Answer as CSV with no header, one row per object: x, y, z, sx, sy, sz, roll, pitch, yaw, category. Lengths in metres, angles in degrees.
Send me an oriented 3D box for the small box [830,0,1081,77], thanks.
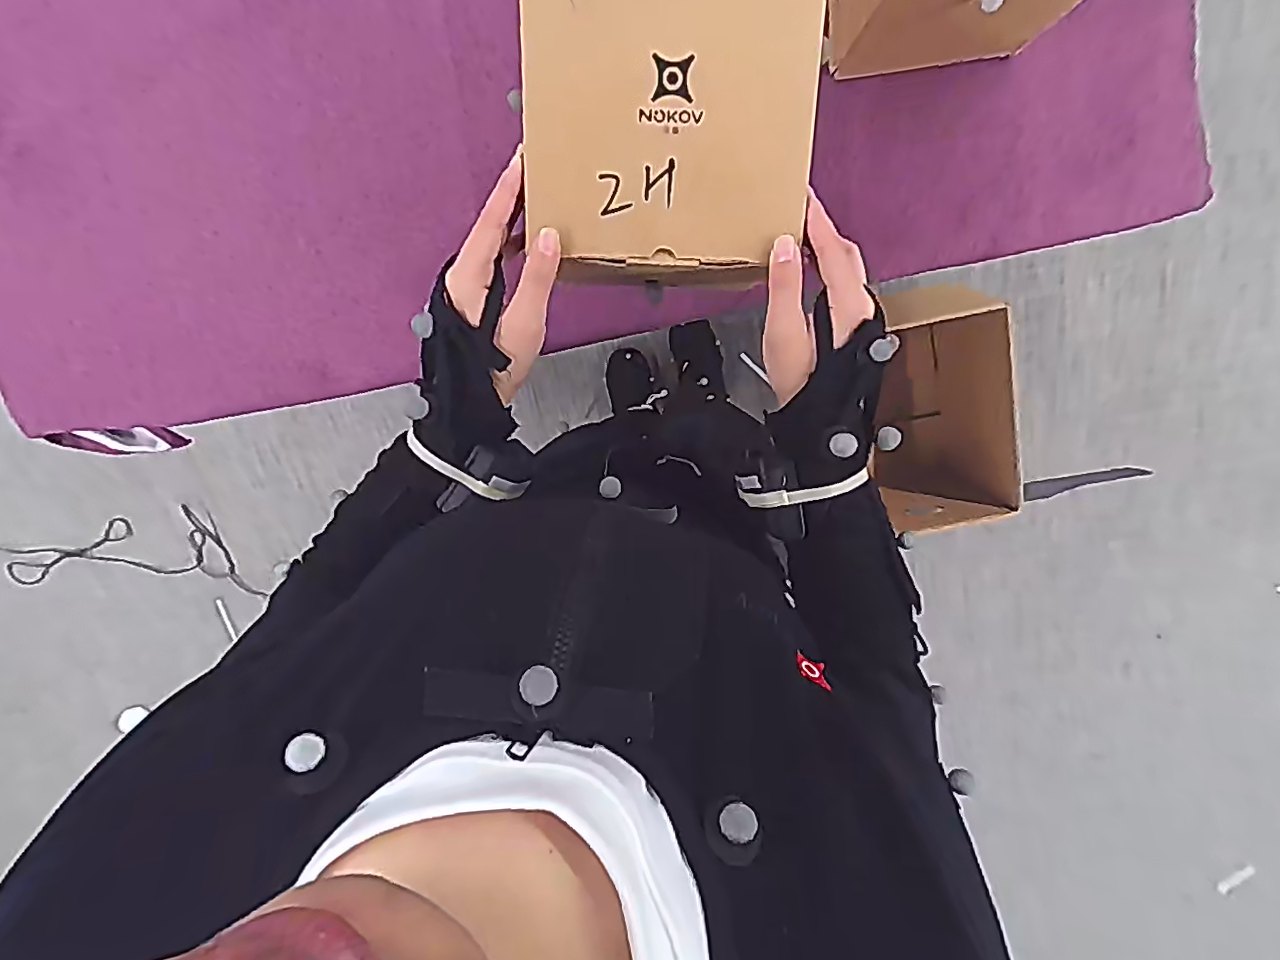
0.261,-0.451,0.420,0.179,0.176,0.168,-5,104,4,small box

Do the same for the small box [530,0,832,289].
0.019,-0.236,0.378,0.168,0.176,0.179,1,105,-1,small box
